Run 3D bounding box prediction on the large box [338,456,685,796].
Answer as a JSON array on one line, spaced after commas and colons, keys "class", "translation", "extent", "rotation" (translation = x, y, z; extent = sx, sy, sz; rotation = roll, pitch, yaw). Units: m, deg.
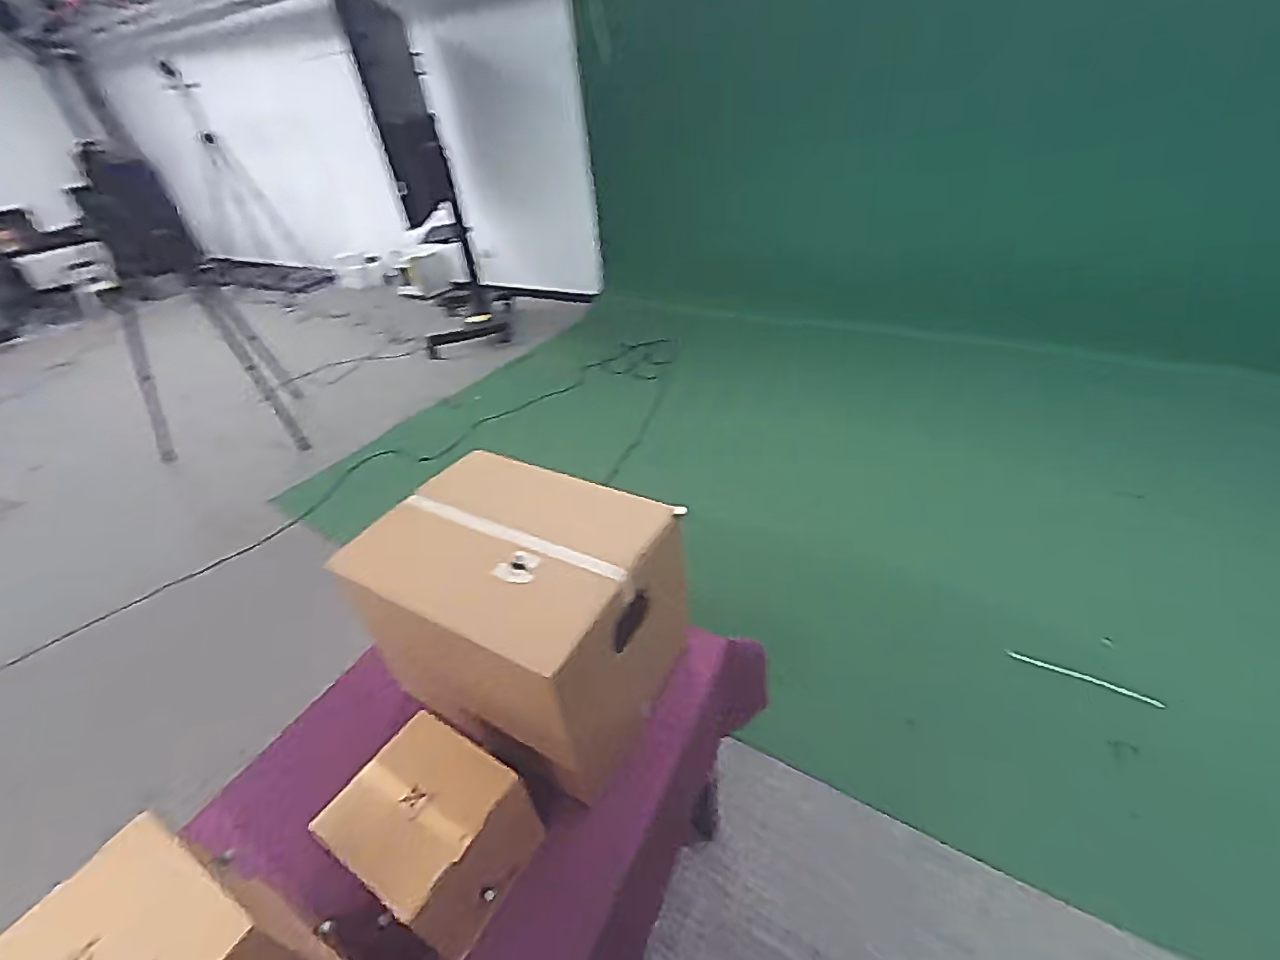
[{"class": "large box", "translation": [-0.173, 0.205, 0.863], "extent": [0.408, 0.320, 0.320], "rotation": [16, 41, 26]}]
